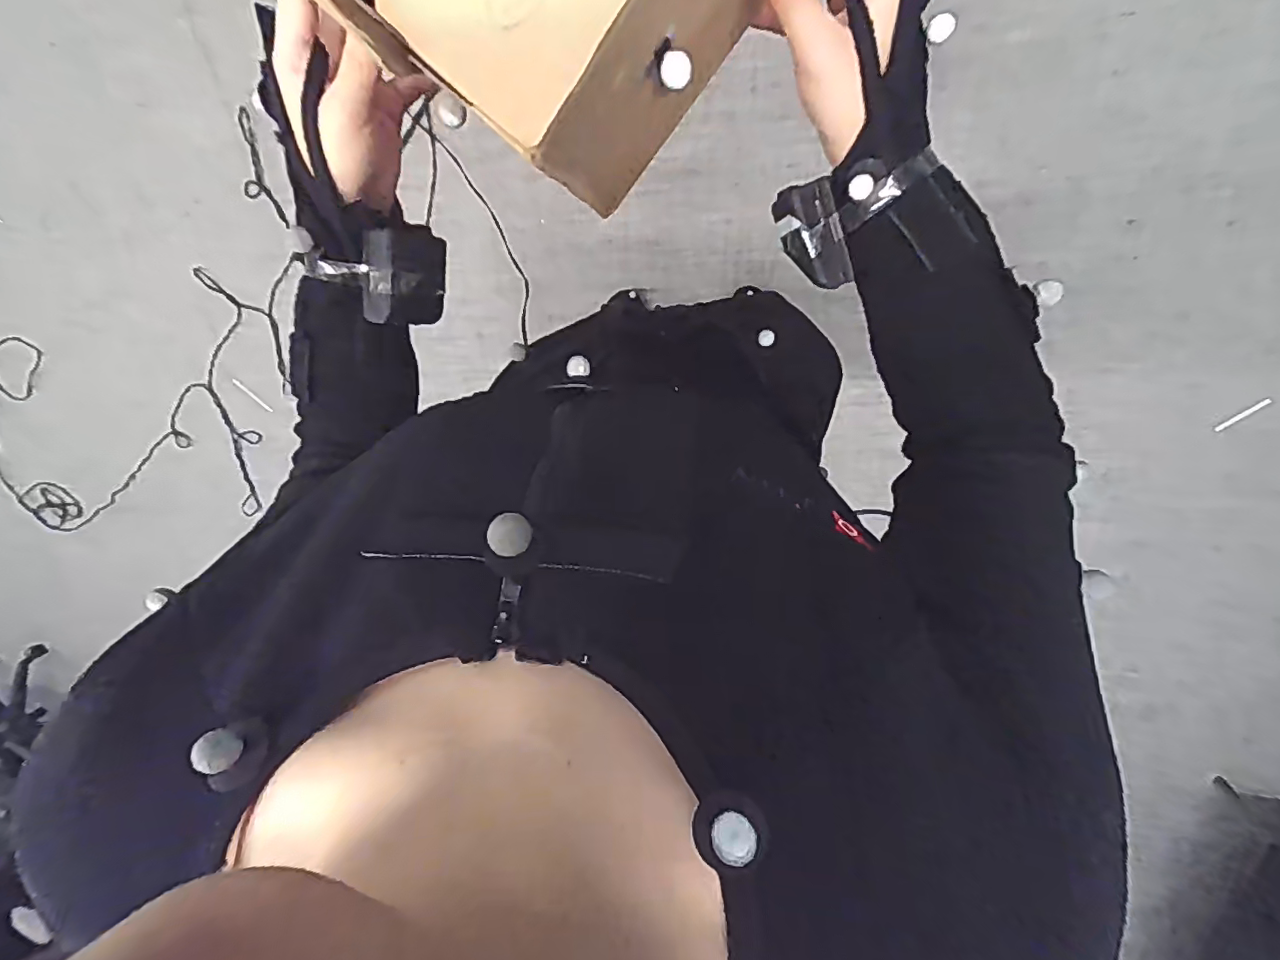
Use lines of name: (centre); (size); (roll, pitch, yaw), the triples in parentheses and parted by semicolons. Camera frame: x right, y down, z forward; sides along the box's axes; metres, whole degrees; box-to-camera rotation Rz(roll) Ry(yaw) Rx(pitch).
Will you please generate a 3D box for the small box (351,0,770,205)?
small box: (-0.036, -0.265, 0.259); (0.168, 0.176, 0.179); (40, 109, -7)
